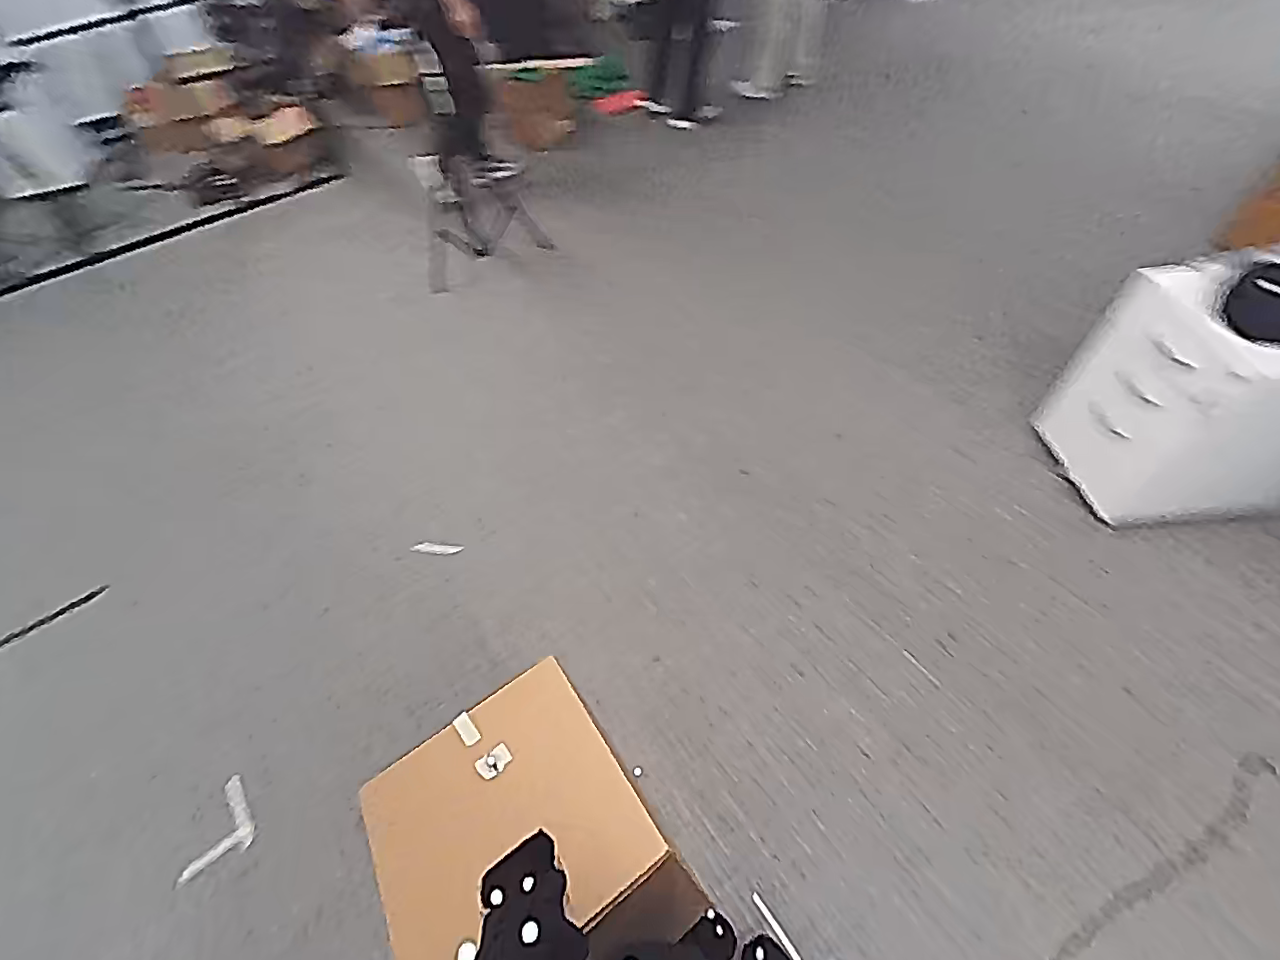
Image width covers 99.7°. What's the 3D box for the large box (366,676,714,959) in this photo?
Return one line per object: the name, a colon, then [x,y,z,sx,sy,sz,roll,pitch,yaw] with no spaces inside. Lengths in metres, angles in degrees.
large box: [-0.127,0.571,0.806,0.320,0.408,0.320,-33,47,-15]
